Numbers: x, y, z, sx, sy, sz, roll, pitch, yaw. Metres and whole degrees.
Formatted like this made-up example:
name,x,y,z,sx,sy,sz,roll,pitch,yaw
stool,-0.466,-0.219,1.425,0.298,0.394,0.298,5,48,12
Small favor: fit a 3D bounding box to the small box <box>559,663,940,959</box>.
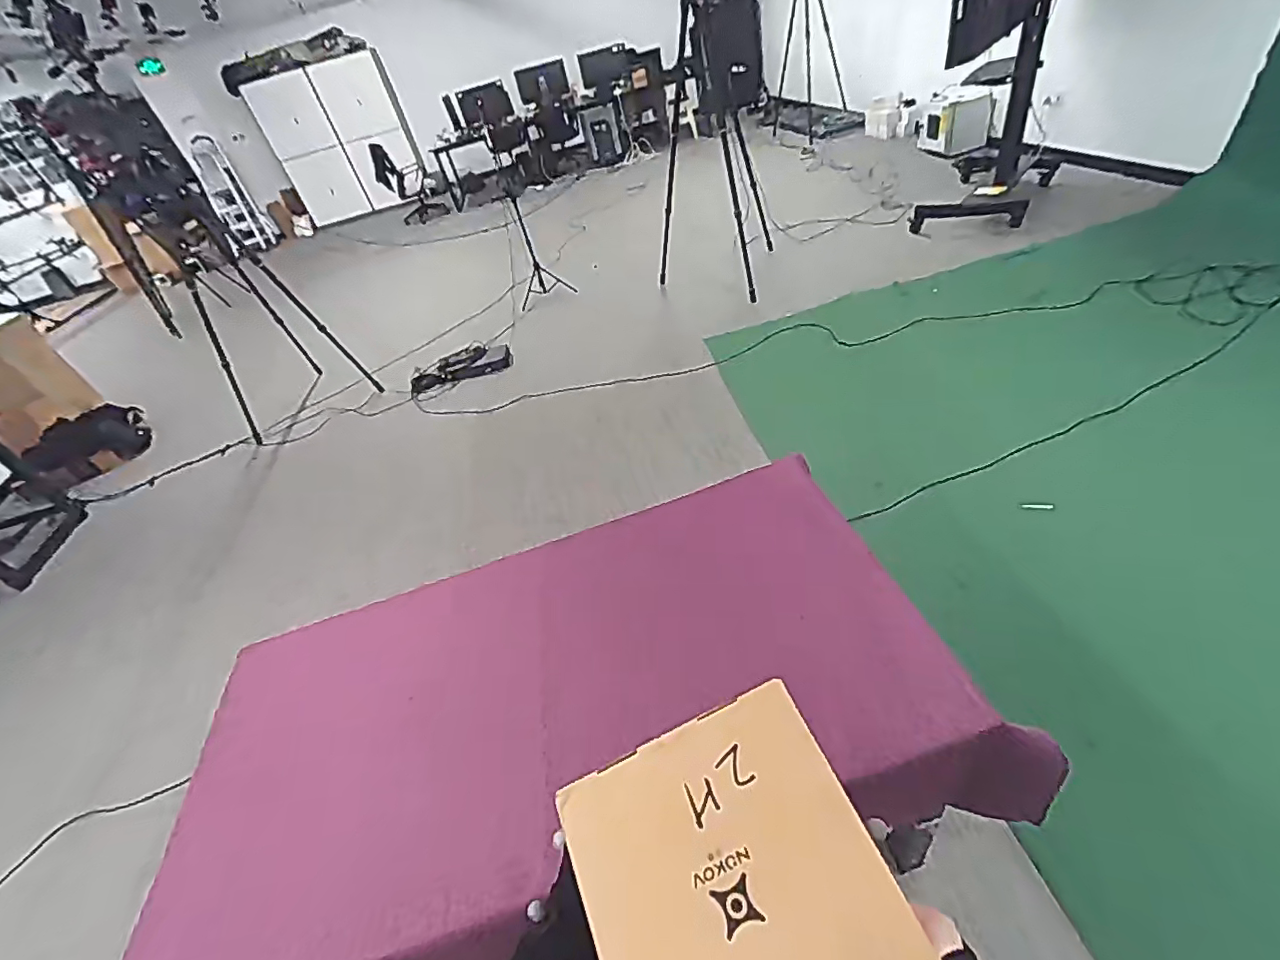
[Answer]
name,x,y,z,sx,sy,sz,roll,pitch,yaw
small box,0.068,0.261,0.379,0.168,0.176,0.179,-26,55,-3
